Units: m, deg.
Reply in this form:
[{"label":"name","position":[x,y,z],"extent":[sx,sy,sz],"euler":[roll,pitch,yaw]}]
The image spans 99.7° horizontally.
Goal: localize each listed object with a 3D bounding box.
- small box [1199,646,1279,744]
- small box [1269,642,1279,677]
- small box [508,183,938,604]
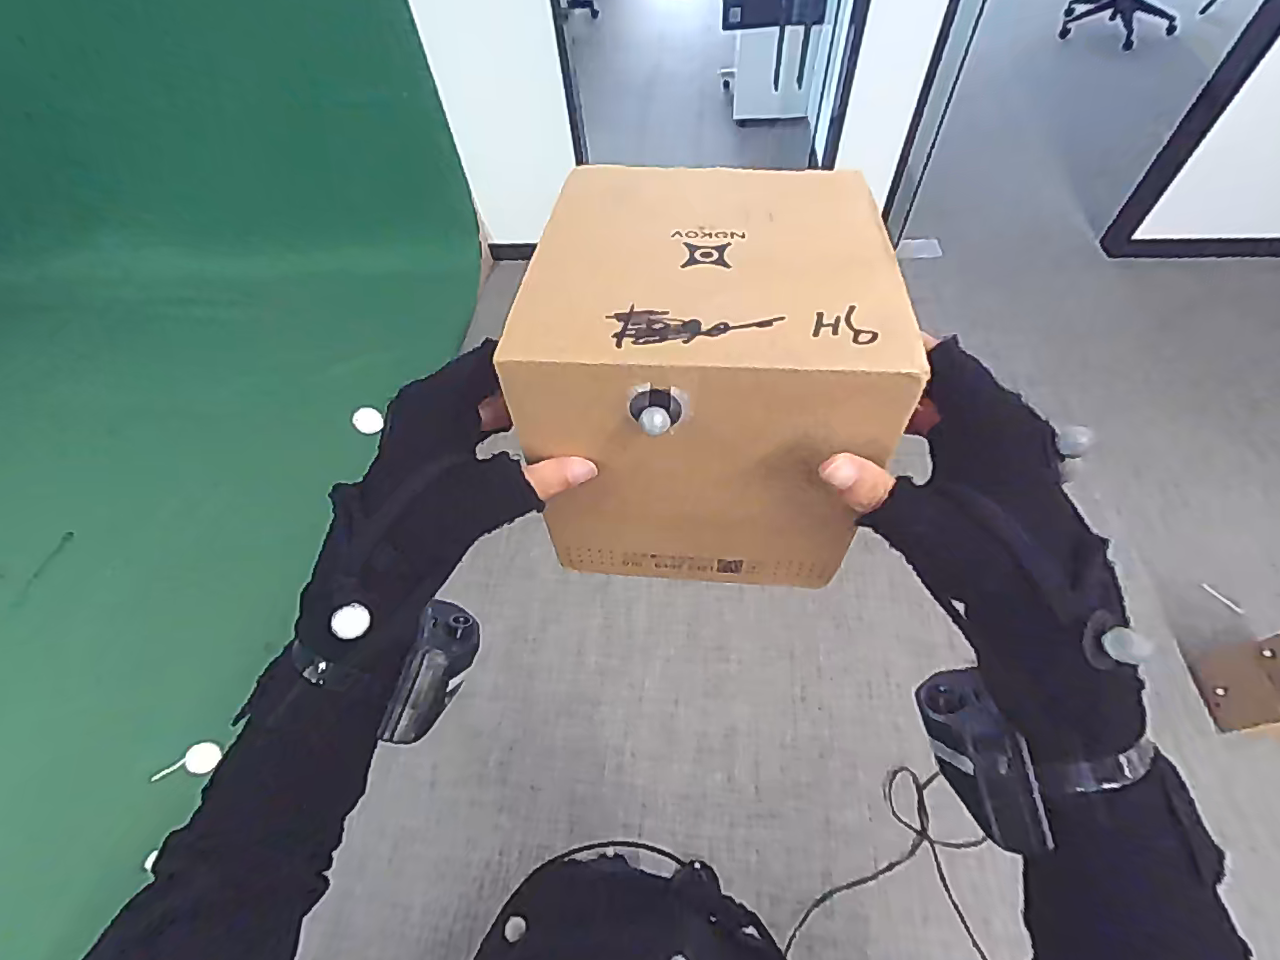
[{"label":"small box","position":[1.429,0.482,1.198],"extent":[0.179,0.176,0.168],"euler":[3,55,7]},{"label":"small box","position":[1.424,0.390,1.062],"extent":[0.179,0.176,0.168],"euler":[2,56,6]},{"label":"small box","position":[0.040,-0.050,0.317],"extent":[0.168,0.176,0.179],"euler":[3,50,6]}]
